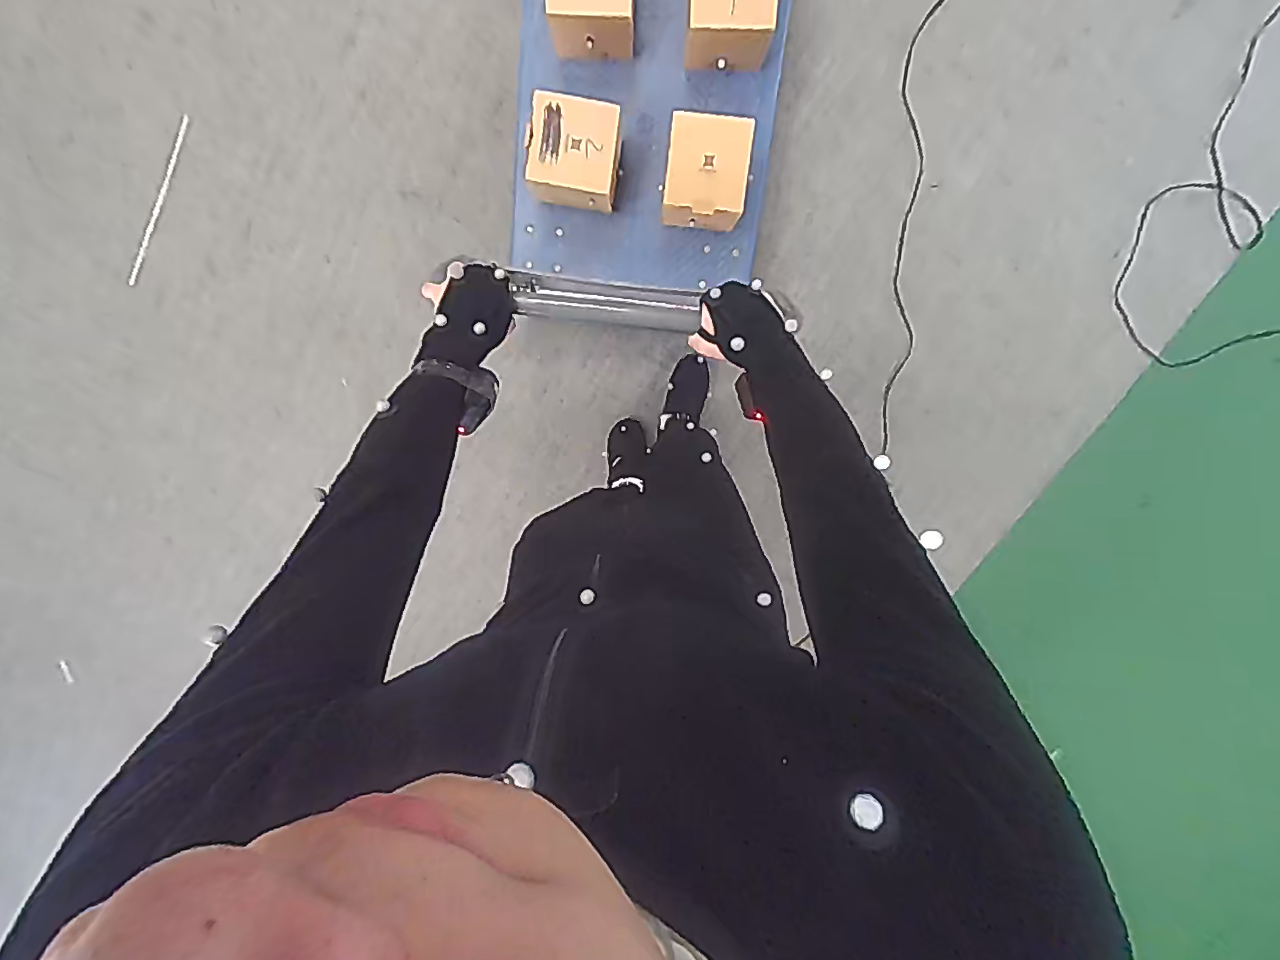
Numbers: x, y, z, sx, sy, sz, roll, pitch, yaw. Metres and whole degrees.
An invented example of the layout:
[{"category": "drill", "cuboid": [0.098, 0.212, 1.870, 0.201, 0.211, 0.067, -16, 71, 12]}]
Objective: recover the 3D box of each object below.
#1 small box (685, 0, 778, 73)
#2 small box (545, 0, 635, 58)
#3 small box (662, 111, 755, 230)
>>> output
[{"category": "small box", "cuboid": [0.181, -0.962, 1.086, 0.168, 0.176, 0.179, 2, 106, 0]}, {"category": "small box", "cuboid": [-0.094, -0.984, 1.082, 0.168, 0.176, 0.179, 2, 104, -1]}, {"category": "small box", "cuboid": [0.139, -0.657, 1.167, 0.168, 0.176, 0.179, 5, 105, -1]}]
